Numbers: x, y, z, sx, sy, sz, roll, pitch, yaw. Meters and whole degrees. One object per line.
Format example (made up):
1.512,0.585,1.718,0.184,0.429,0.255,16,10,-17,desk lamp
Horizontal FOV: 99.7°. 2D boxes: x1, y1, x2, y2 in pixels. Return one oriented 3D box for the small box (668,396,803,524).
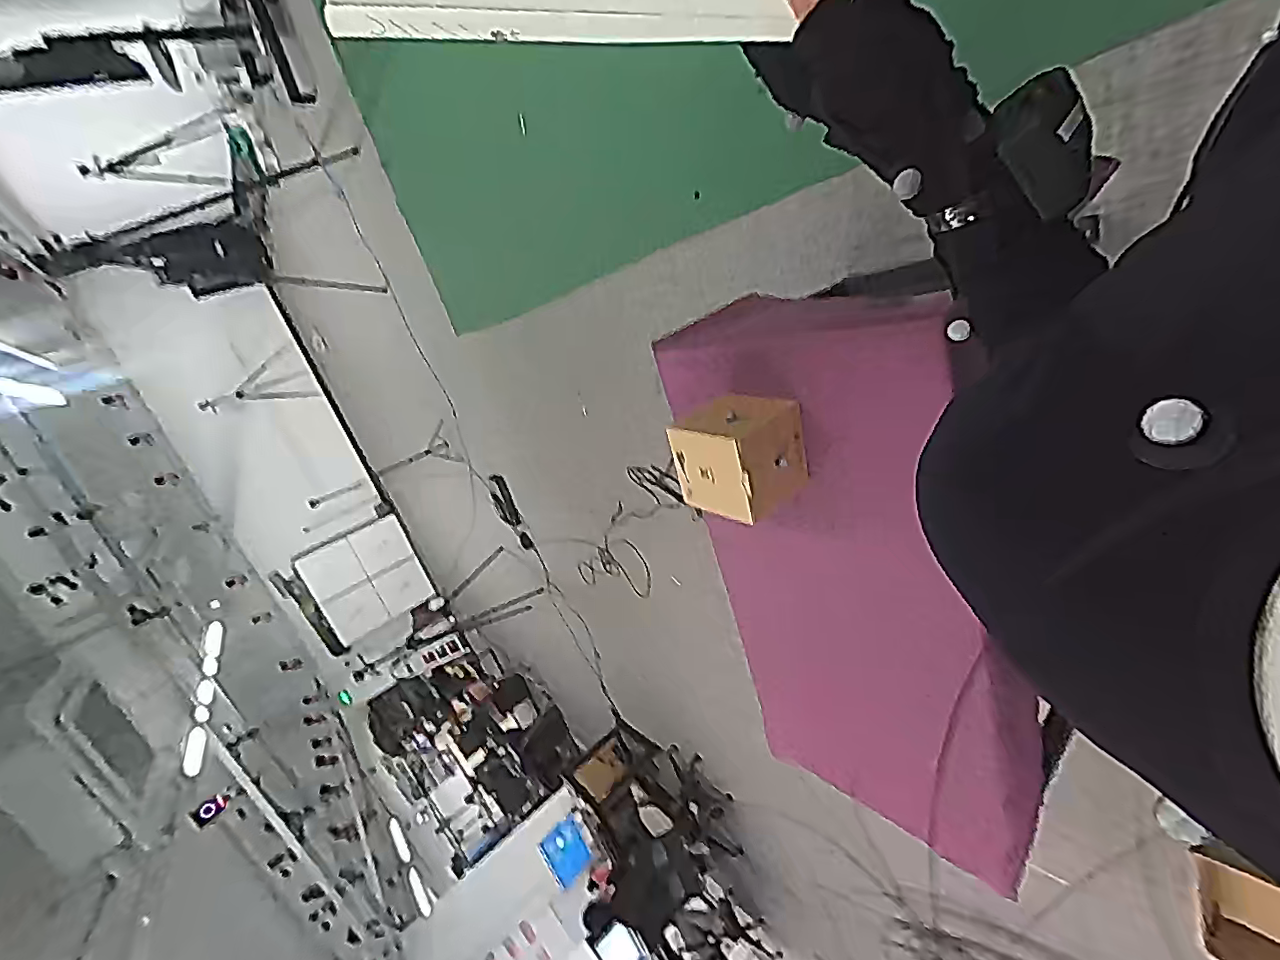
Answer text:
0.184,-0.046,0.996,0.179,0.176,0.168,16,129,48,small box
